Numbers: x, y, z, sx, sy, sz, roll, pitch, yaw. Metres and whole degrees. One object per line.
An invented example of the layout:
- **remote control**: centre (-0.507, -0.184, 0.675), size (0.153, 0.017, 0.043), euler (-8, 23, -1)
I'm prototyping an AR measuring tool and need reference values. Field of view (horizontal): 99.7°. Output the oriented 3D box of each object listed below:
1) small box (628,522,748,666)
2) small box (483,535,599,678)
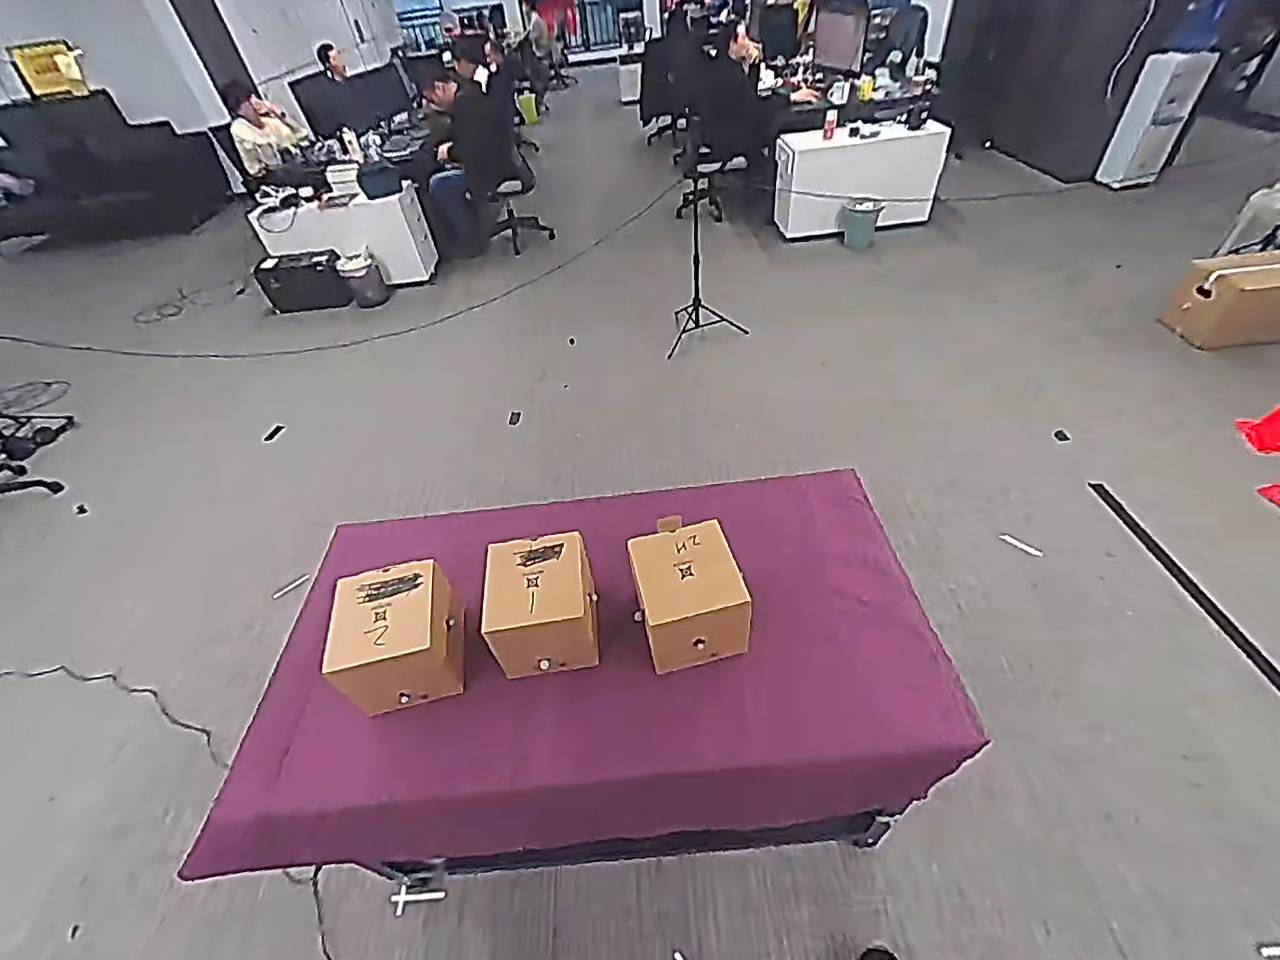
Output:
- **small box**: centre (0.083, 0.206, 0.950), size (0.168, 0.176, 0.179), euler (-13, 44, -5)
- **small box**: centre (-0.169, 0.226, 0.966), size (0.168, 0.176, 0.179), euler (-9, 45, -1)
